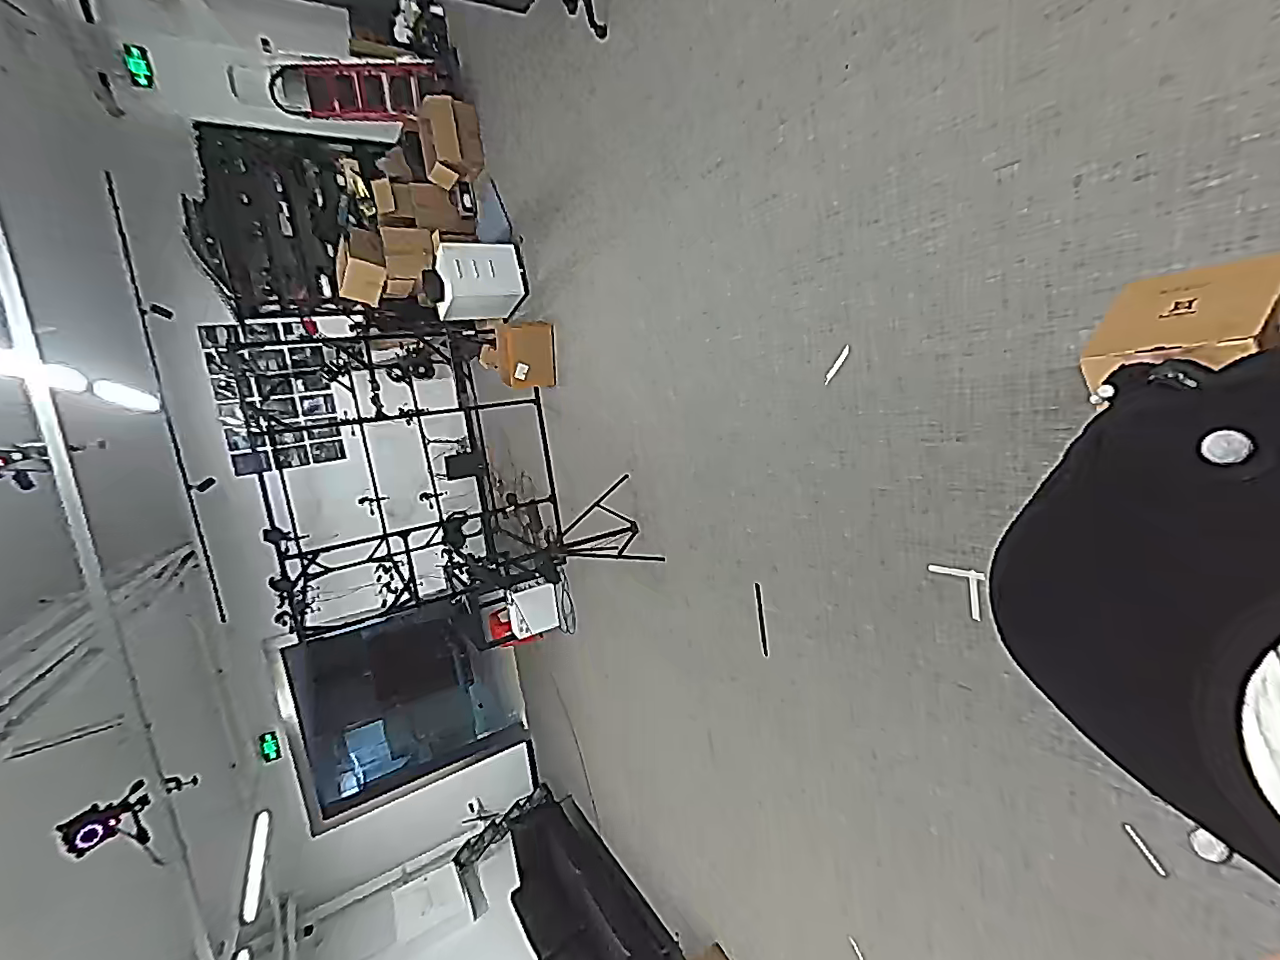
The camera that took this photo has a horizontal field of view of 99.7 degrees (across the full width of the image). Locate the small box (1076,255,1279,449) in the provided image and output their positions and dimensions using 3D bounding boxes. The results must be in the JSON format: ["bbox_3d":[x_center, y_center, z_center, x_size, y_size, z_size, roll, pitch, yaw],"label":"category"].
[{"bbox_3d":[0.728,-0.156,0.710,0.176,0.179,0.168,51,162,-22],"label":"small box"}]
